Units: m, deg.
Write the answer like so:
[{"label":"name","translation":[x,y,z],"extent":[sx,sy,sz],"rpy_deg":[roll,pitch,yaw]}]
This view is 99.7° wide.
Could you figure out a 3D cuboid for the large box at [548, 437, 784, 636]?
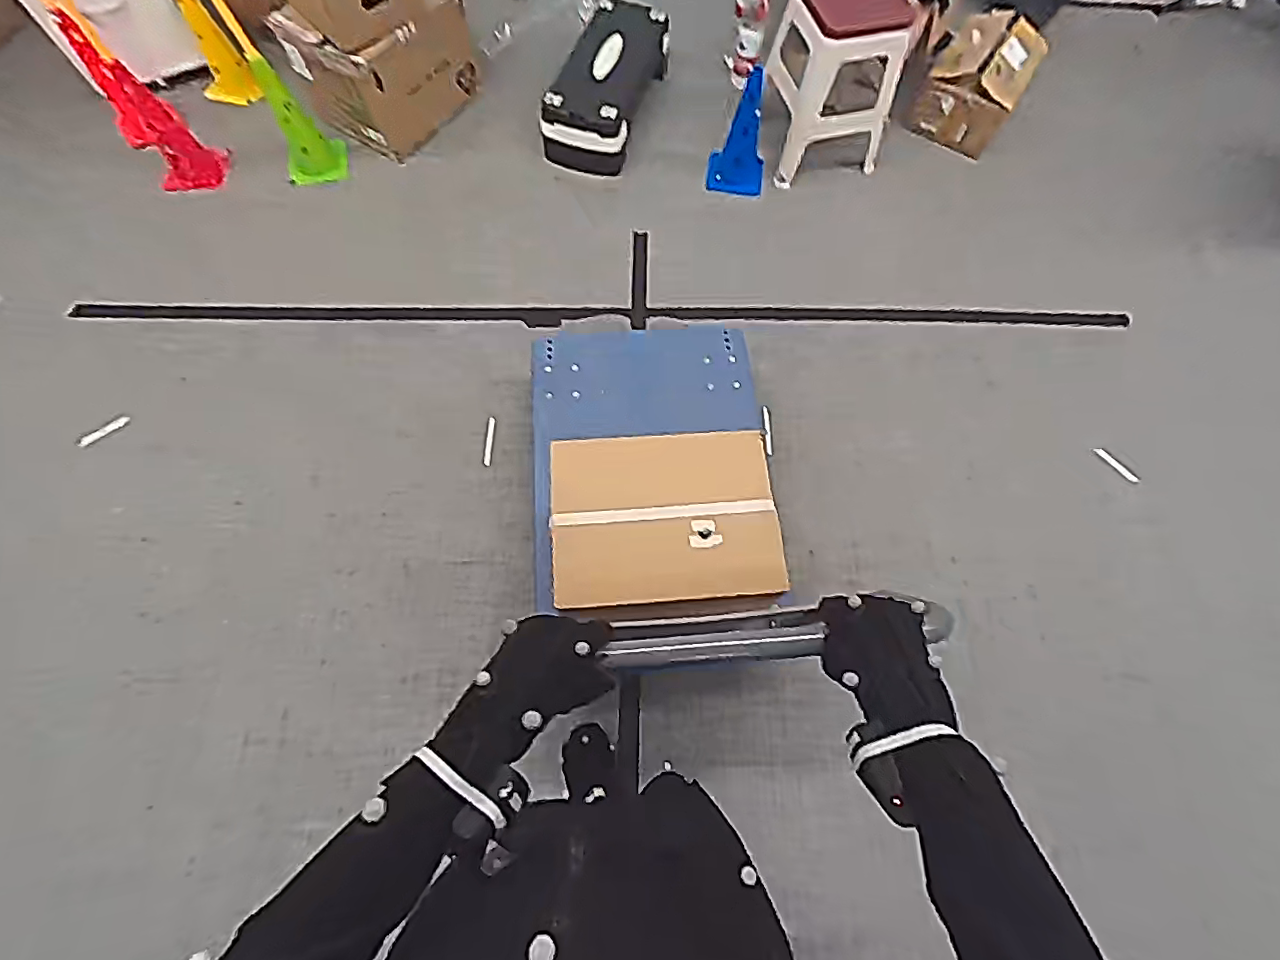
[{"label":"large box","translation":[0.031,0.127,1.101],"extent":[0.408,0.320,0.320],"rpy_deg":[-3,69,-4]}]
